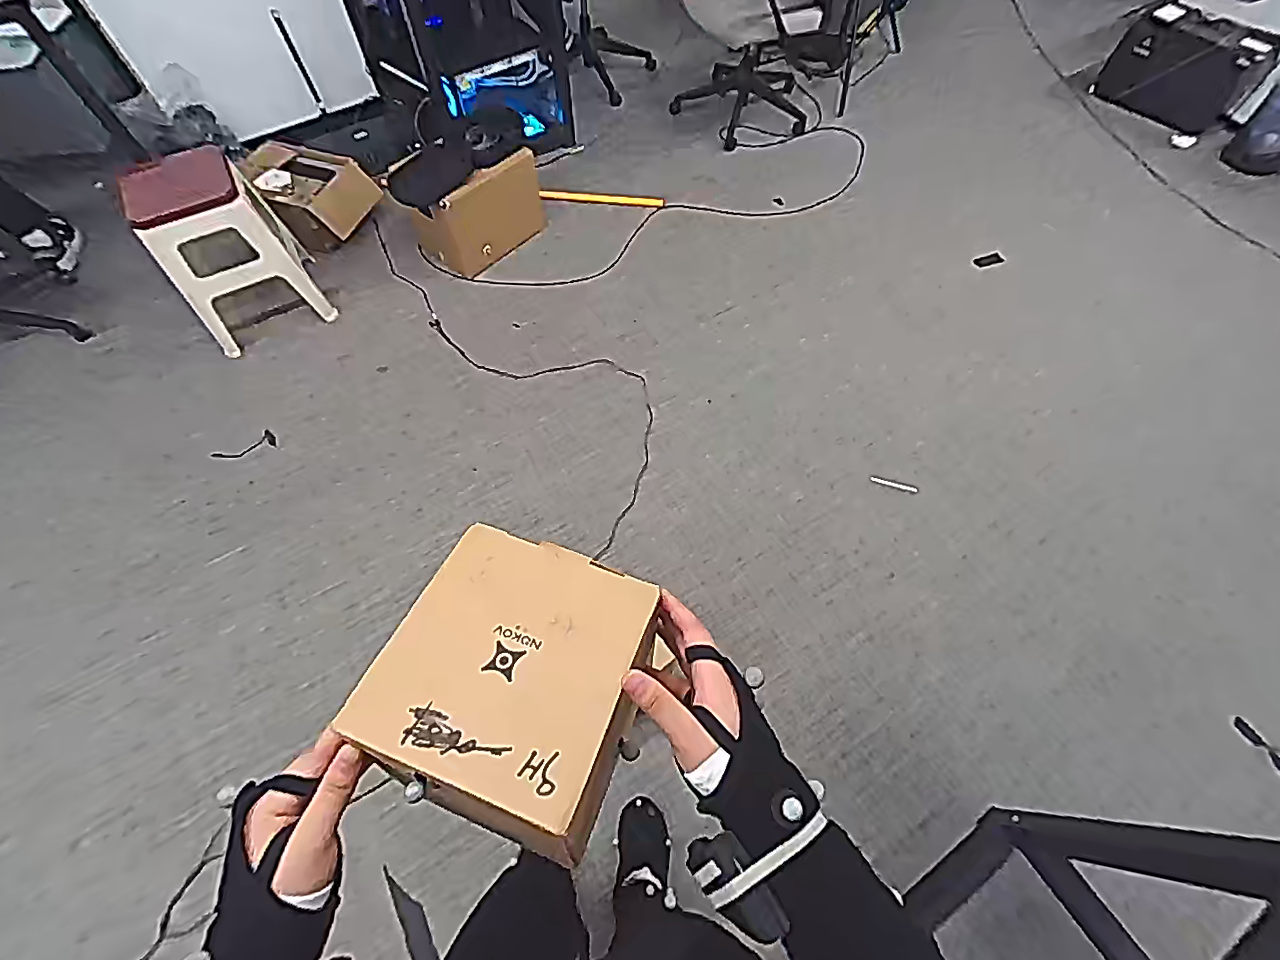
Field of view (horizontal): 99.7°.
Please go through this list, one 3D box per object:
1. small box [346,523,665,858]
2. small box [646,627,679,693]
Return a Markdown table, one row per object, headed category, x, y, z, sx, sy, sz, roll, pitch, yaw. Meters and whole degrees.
| category | x | y | z | sx | sy | sz | roll | pitch | yaw |
| --- | --- | --- | --- | --- | --- | --- | --- | --- | --- |
| small box | -0.089 | 0.170 | 0.442 | 0.168 | 0.176 | 0.179 | 16 | 49 | 13 |
| small box | -0.036 | 0.379 | 1.157 | 0.179 | 0.176 | 0.168 | -35 | 68 | -19 |
